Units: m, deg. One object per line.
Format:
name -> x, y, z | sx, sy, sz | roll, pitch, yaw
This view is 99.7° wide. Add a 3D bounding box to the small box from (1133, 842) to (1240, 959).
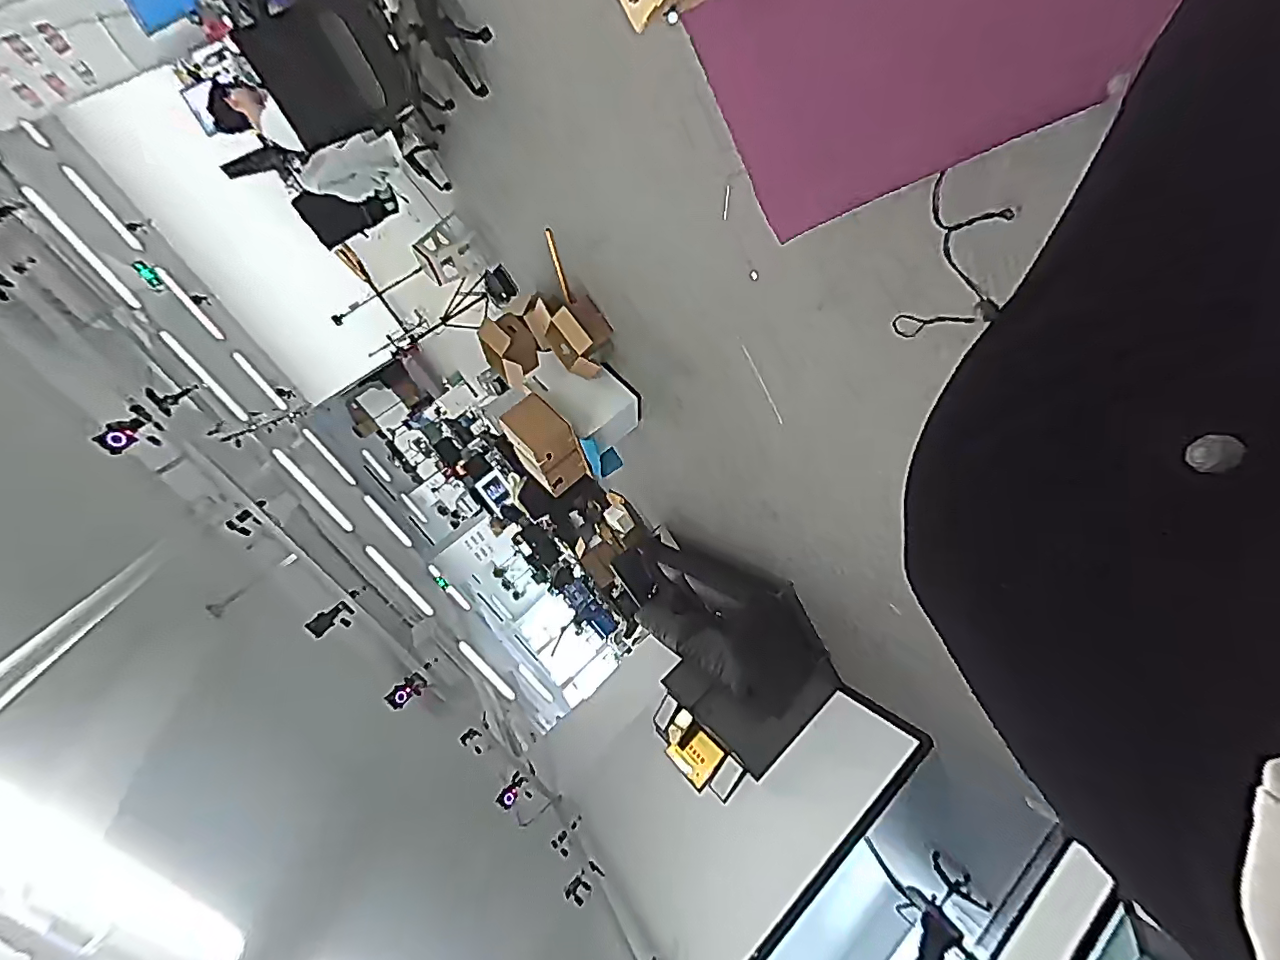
small box -> 1.577, 1.201, 1.559 | 0.179, 0.176, 0.168 | 57, 164, -20
